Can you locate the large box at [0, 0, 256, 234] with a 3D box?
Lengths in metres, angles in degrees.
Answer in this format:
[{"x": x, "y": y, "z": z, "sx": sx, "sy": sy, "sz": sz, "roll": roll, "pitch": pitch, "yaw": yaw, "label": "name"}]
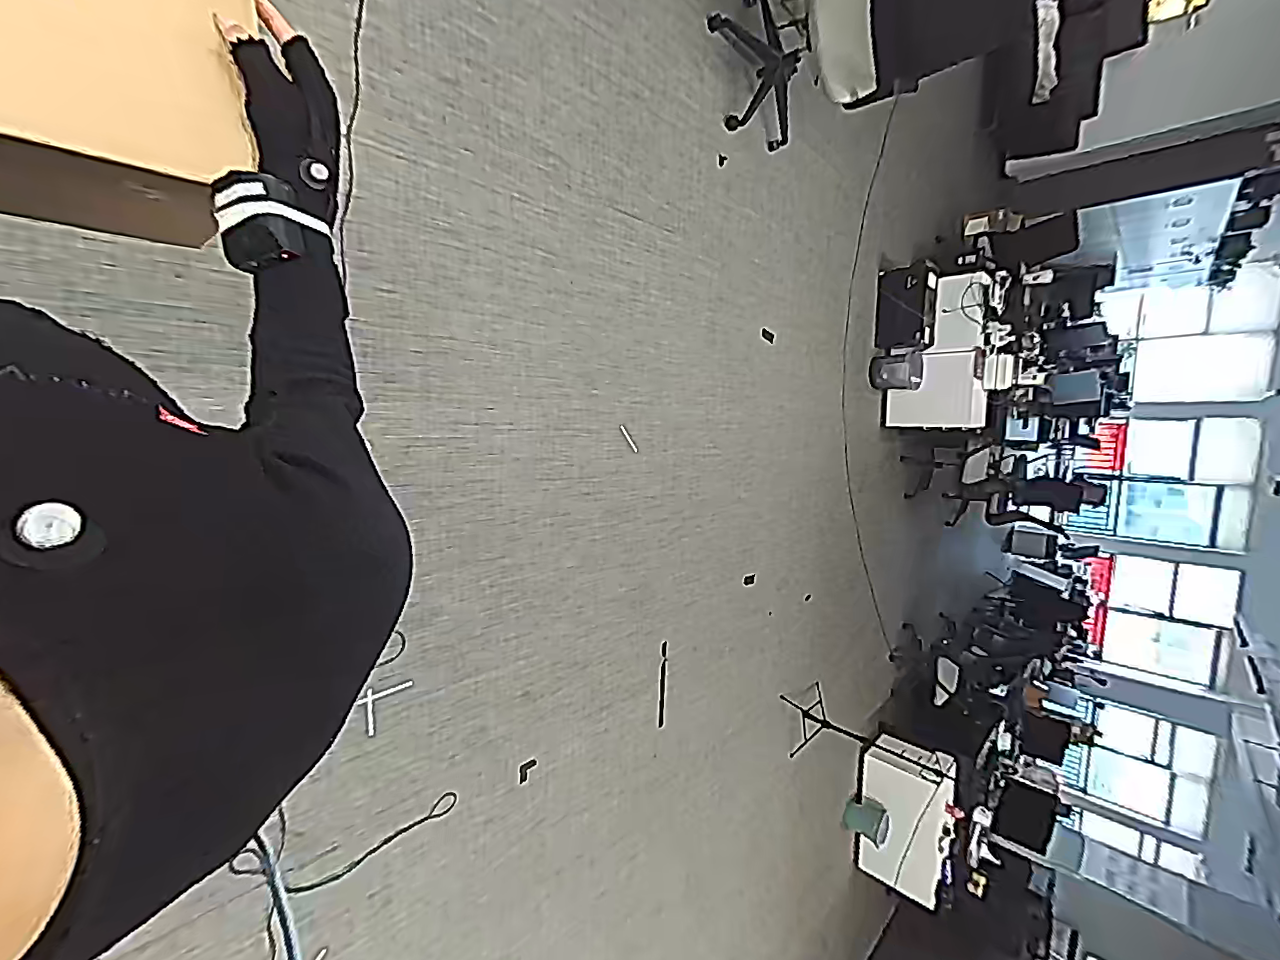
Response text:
[{"x": -0.567, "y": -0.403, "z": 0.391, "sx": 0.408, "sy": 0.320, "sz": 0.320, "roll": -8, "pitch": 105, "yaw": -47, "label": "large box"}]
